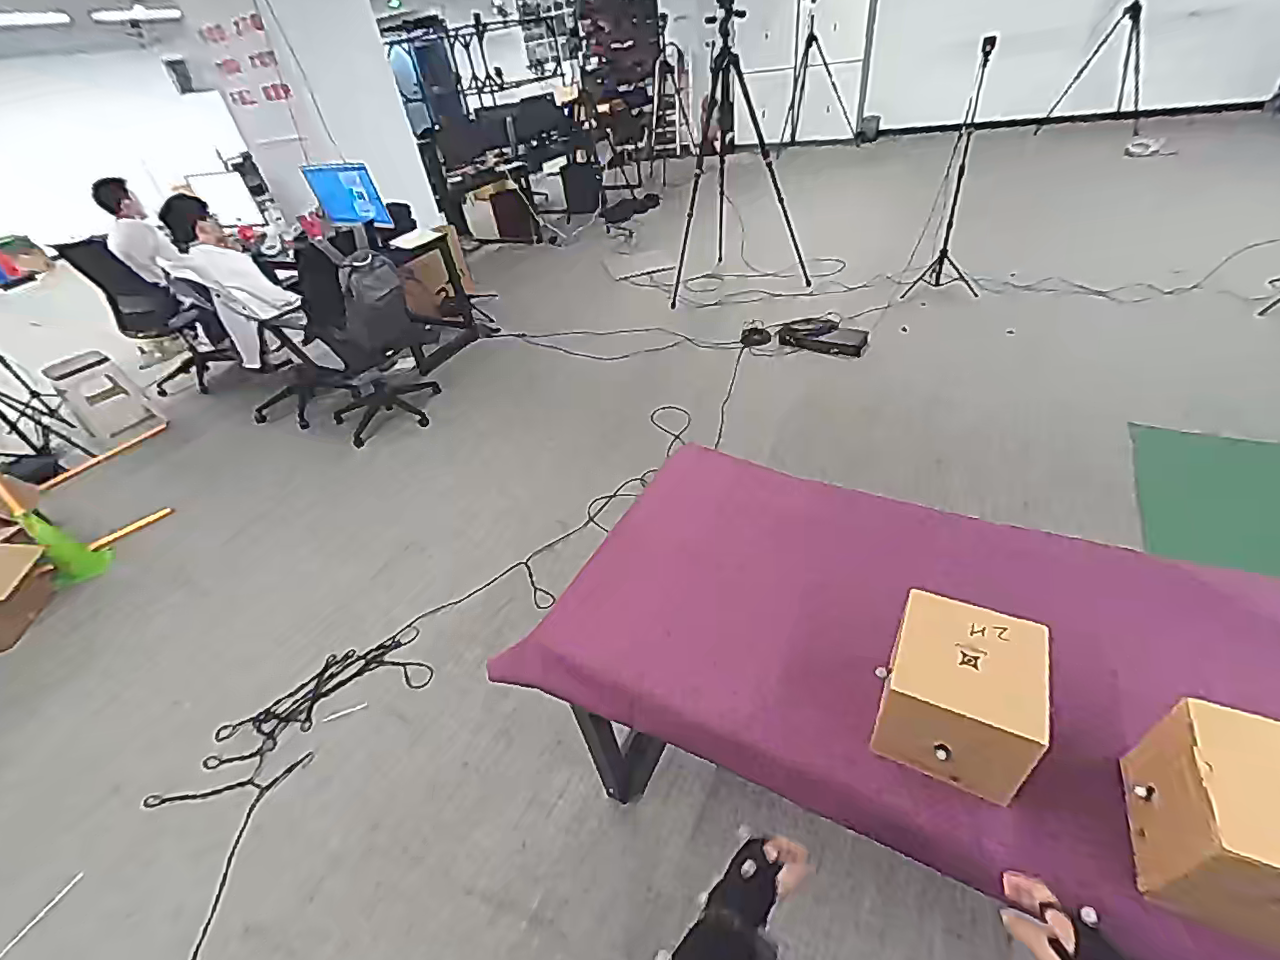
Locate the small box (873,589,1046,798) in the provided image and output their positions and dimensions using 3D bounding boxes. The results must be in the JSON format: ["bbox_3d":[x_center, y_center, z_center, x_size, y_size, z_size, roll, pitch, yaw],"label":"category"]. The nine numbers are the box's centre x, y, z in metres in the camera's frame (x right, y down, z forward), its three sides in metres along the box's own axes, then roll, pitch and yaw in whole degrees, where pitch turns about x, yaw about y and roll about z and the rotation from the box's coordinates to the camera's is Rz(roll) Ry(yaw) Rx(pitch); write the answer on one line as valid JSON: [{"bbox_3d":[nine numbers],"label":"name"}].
[{"bbox_3d":[0.426,0.287,0.734,0.168,0.176,0.179,15,43,27],"label":"small box"}]

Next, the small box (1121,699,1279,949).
[{"bbox_3d":[0.666,0.374,0.578,0.179,0.176,0.168,11,44,26],"label":"small box"}]
